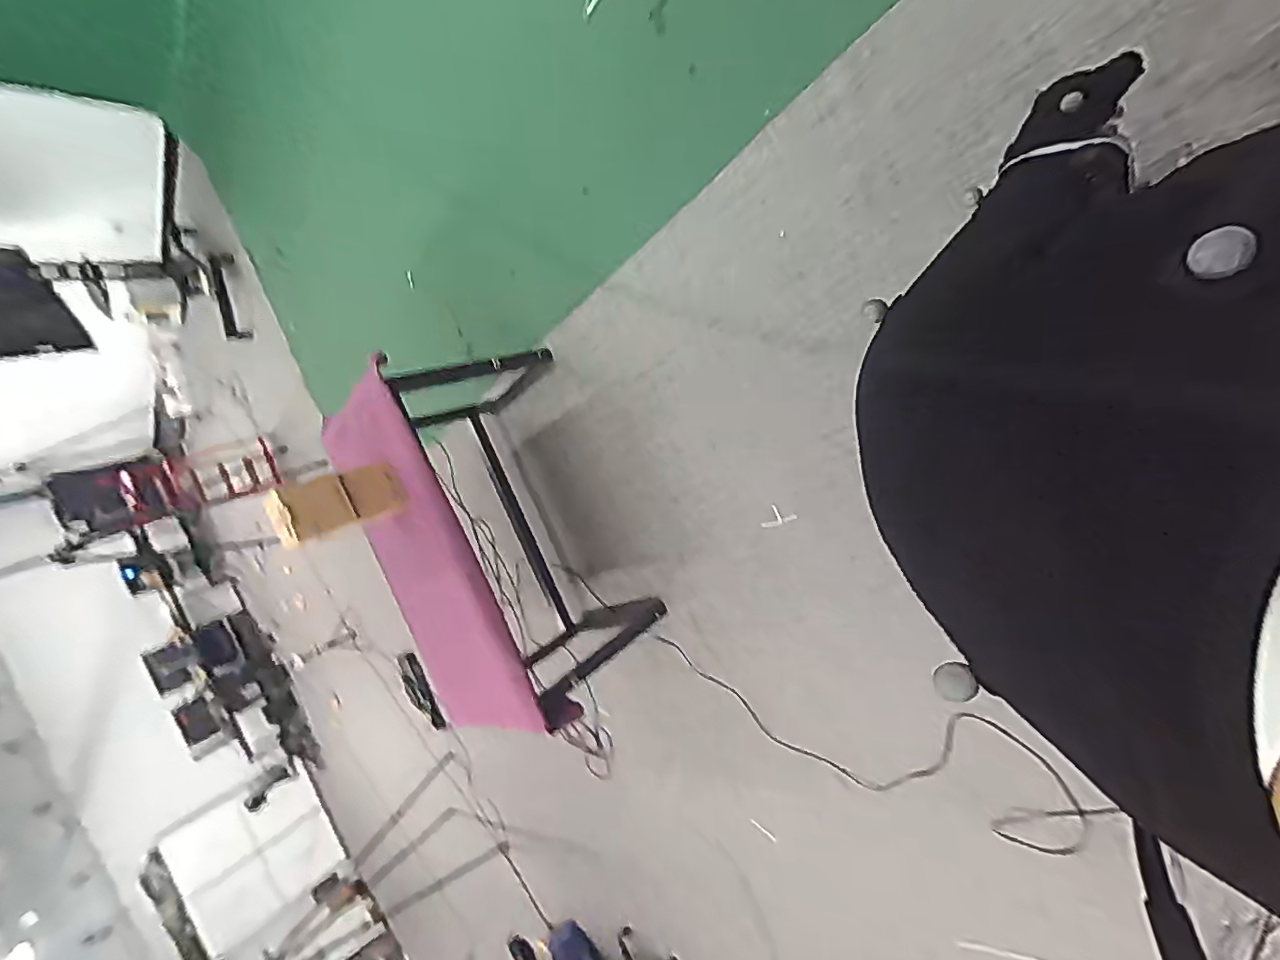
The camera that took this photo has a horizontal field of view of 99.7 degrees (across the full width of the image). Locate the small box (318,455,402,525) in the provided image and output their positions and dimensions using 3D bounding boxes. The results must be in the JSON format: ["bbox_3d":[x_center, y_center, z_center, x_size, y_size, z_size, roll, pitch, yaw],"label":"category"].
[{"bbox_3d":[-0.892,0.029,1.735,0.179,0.176,0.168,-17,94,44],"label":"small box"}]
